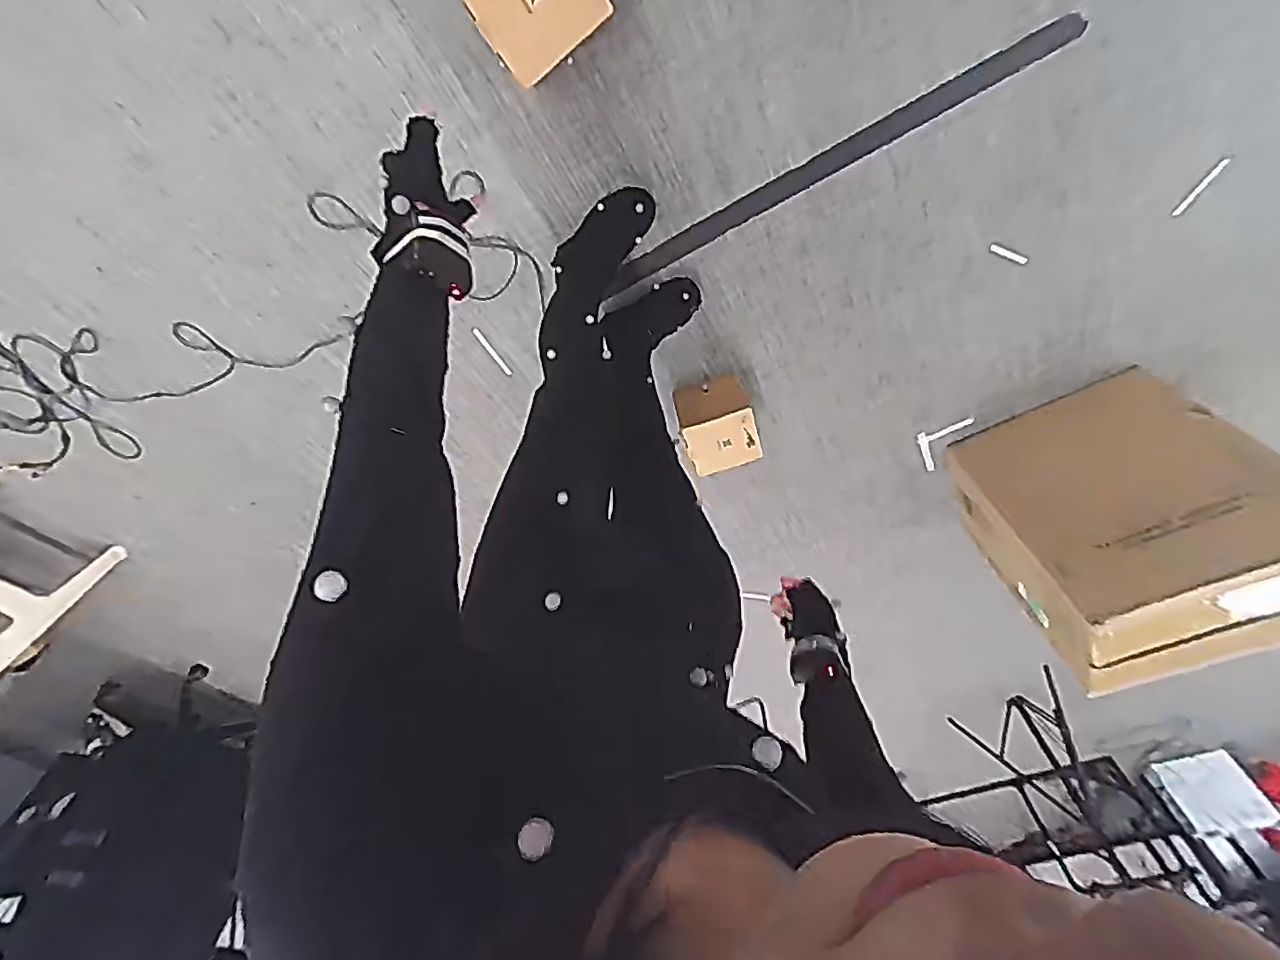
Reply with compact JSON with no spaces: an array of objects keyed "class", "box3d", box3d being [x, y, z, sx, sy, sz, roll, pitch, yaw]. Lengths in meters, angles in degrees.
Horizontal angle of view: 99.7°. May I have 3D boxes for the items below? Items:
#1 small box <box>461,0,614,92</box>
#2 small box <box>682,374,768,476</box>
[{"class":"small box","box3d":[-0.156,-0.738,0.824,0.179,0.176,0.168,-31,128,19]},{"class":"small box","box3d":[0.211,-0.143,1.382,0.179,0.176,0.168,-17,131,10]}]
